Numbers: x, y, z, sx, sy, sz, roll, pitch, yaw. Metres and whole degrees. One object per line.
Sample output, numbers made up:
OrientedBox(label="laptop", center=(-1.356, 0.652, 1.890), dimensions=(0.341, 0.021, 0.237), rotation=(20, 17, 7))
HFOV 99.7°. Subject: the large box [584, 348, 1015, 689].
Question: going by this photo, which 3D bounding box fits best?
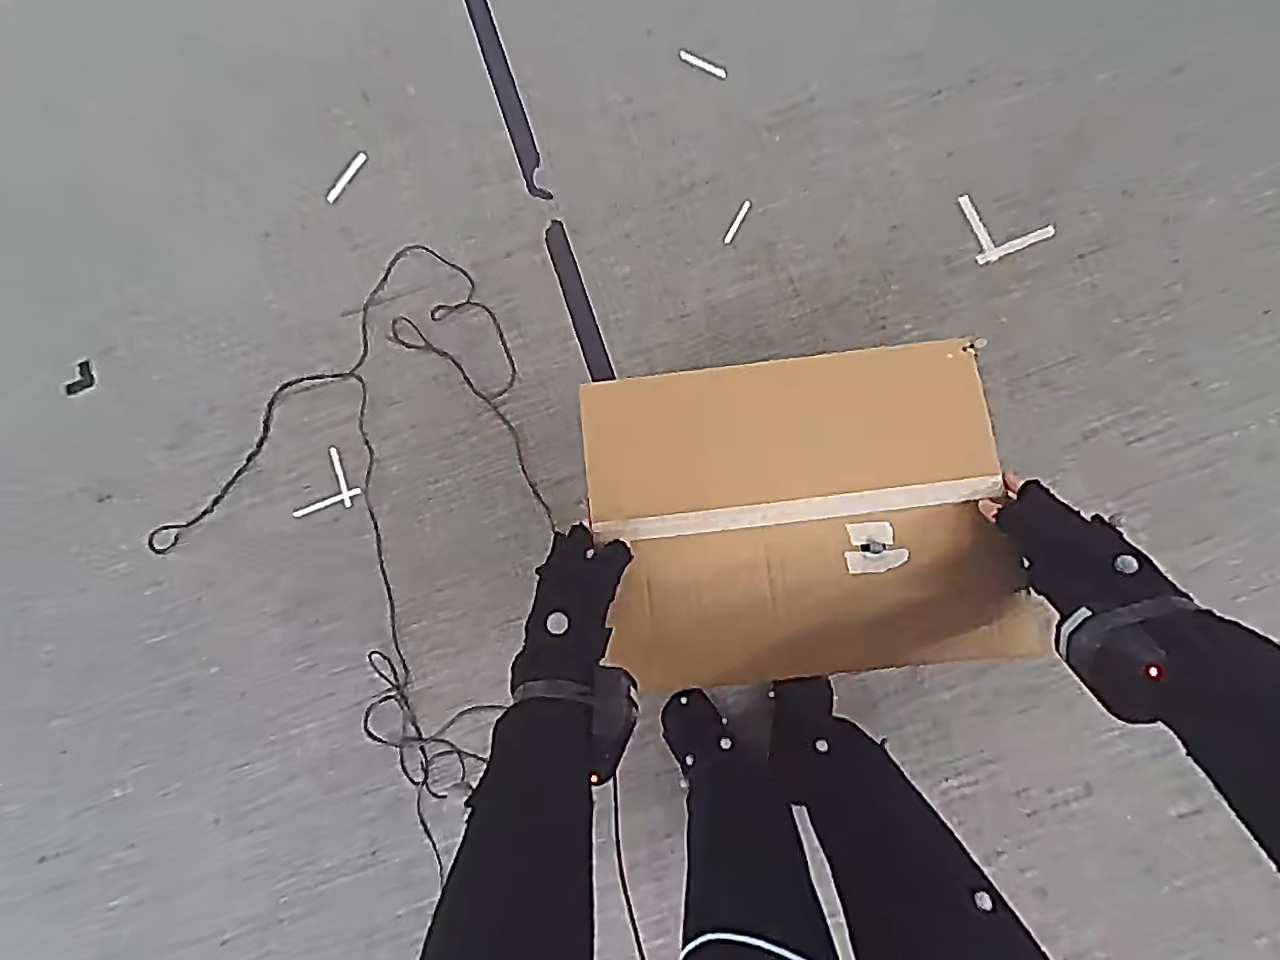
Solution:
OrientedBox(label="large box", center=(0.159, 0.060, 0.705), dimensions=(0.408, 0.320, 0.320), rotation=(-7, 80, 1))
